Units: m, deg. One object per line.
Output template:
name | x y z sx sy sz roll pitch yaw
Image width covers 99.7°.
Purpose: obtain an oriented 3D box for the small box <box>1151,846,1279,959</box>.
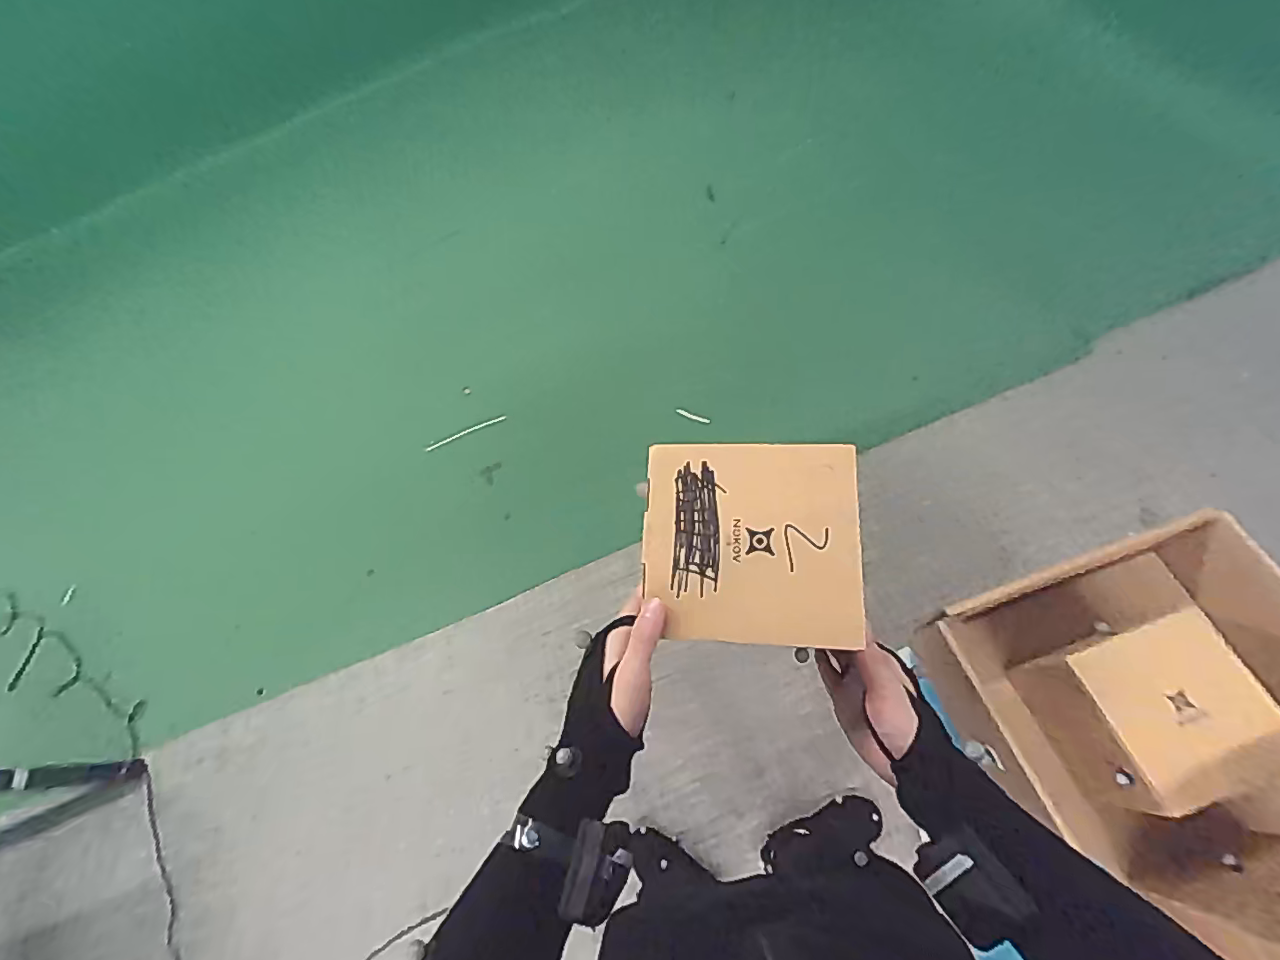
small box | 0.700 0.502 0.549 0.168 0.176 0.179 -25 62 0
